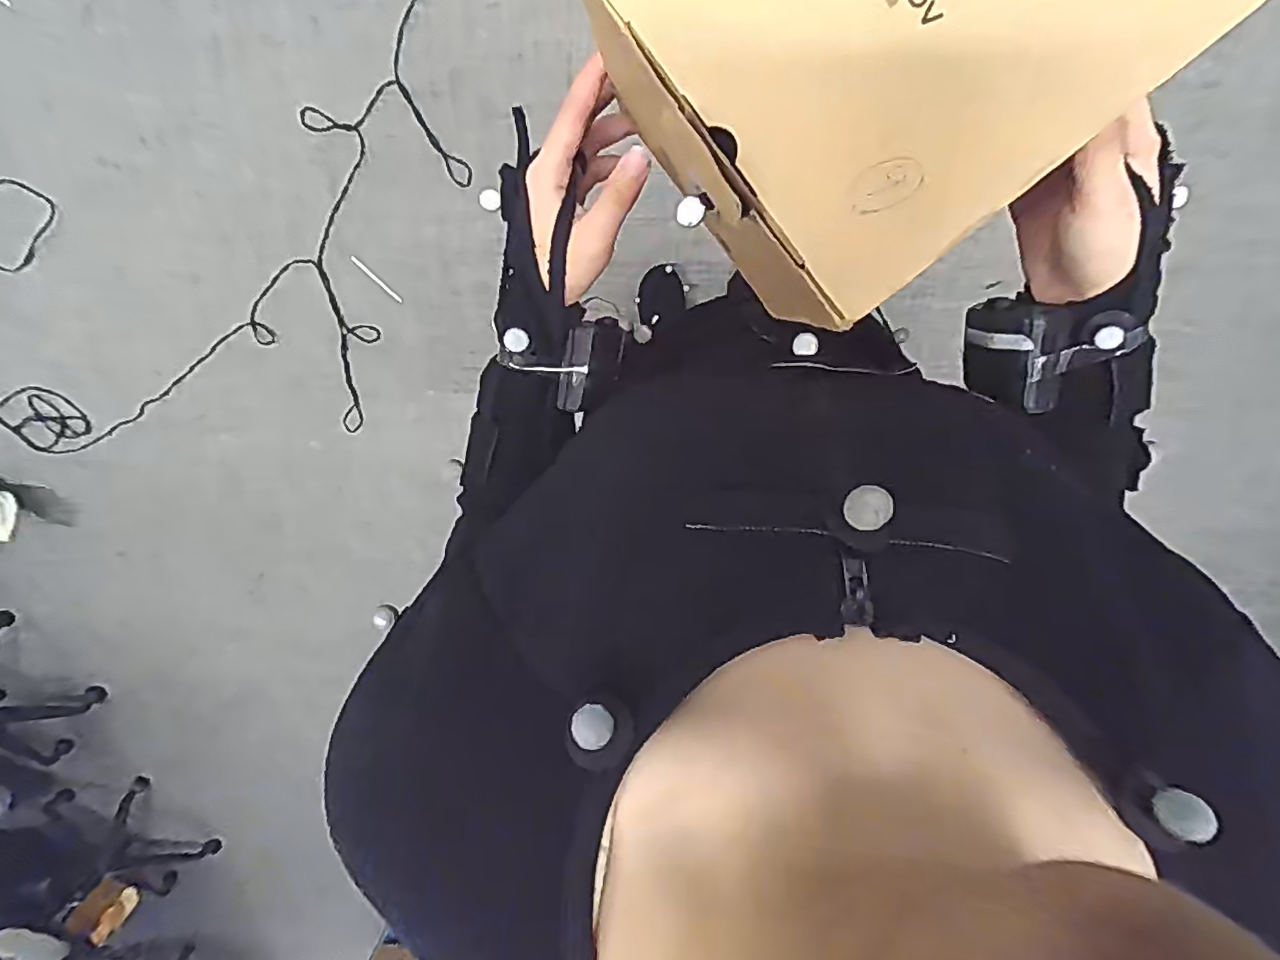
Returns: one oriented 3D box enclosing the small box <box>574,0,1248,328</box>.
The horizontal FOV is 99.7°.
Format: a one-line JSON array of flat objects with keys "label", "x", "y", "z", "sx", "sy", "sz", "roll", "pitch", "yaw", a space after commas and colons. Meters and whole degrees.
[{"label": "small box", "x": 0.098, "y": -0.197, "z": 0.265, "sx": 0.179, "sy": 0.176, "sz": 0.168, "roll": -39, "pitch": 102, "yaw": 16}]
